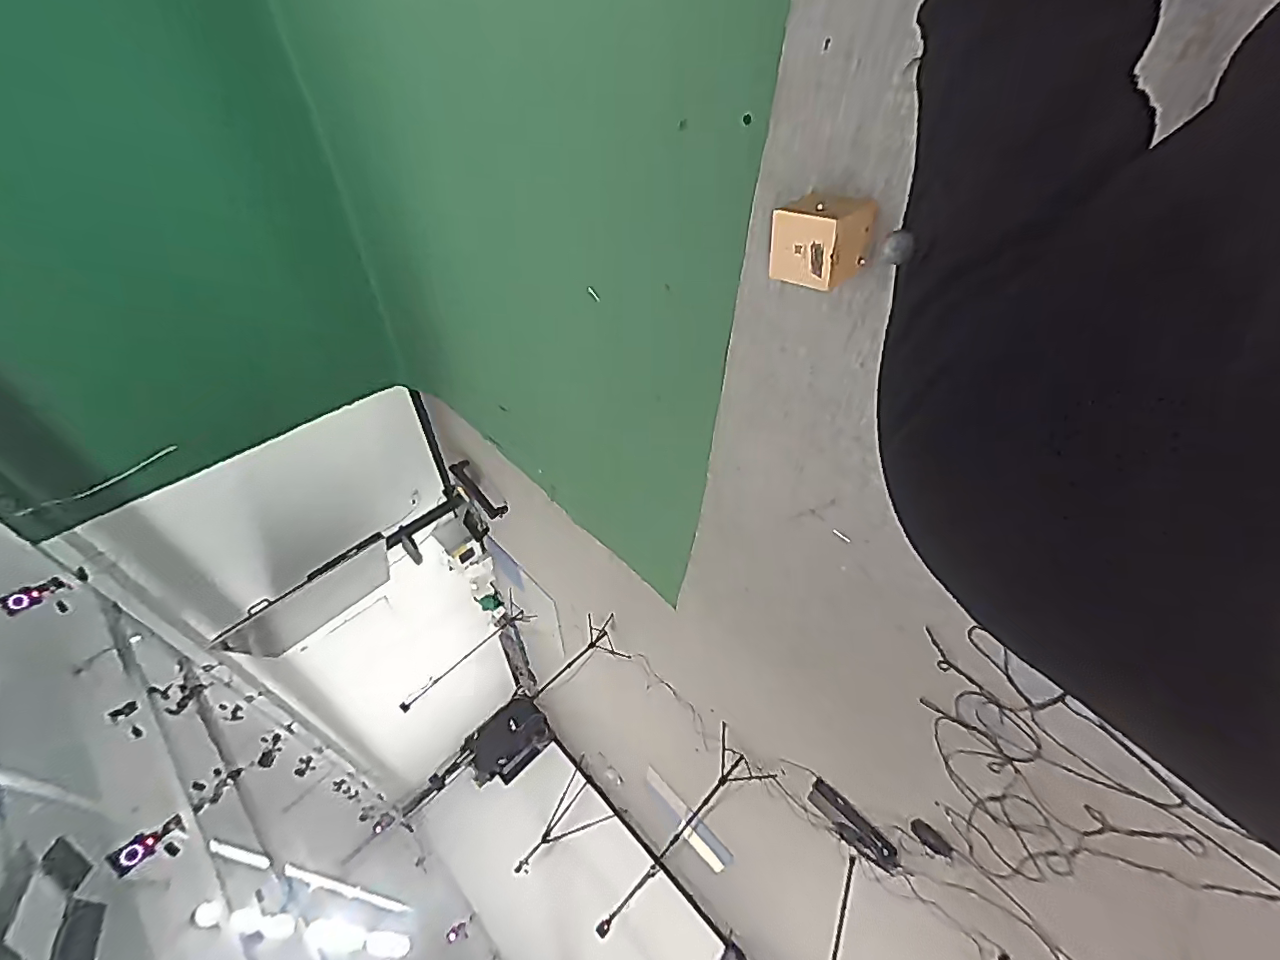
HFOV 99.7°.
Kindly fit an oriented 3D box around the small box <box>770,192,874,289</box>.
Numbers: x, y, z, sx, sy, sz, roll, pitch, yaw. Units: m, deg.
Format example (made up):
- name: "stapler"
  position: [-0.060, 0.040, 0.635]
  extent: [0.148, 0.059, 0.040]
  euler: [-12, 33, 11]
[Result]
- name: "small box"
  position: [0.450, -0.599, 1.339]
  extent: [0.179, 0.176, 0.168]
  euler: [32, 143, 35]
